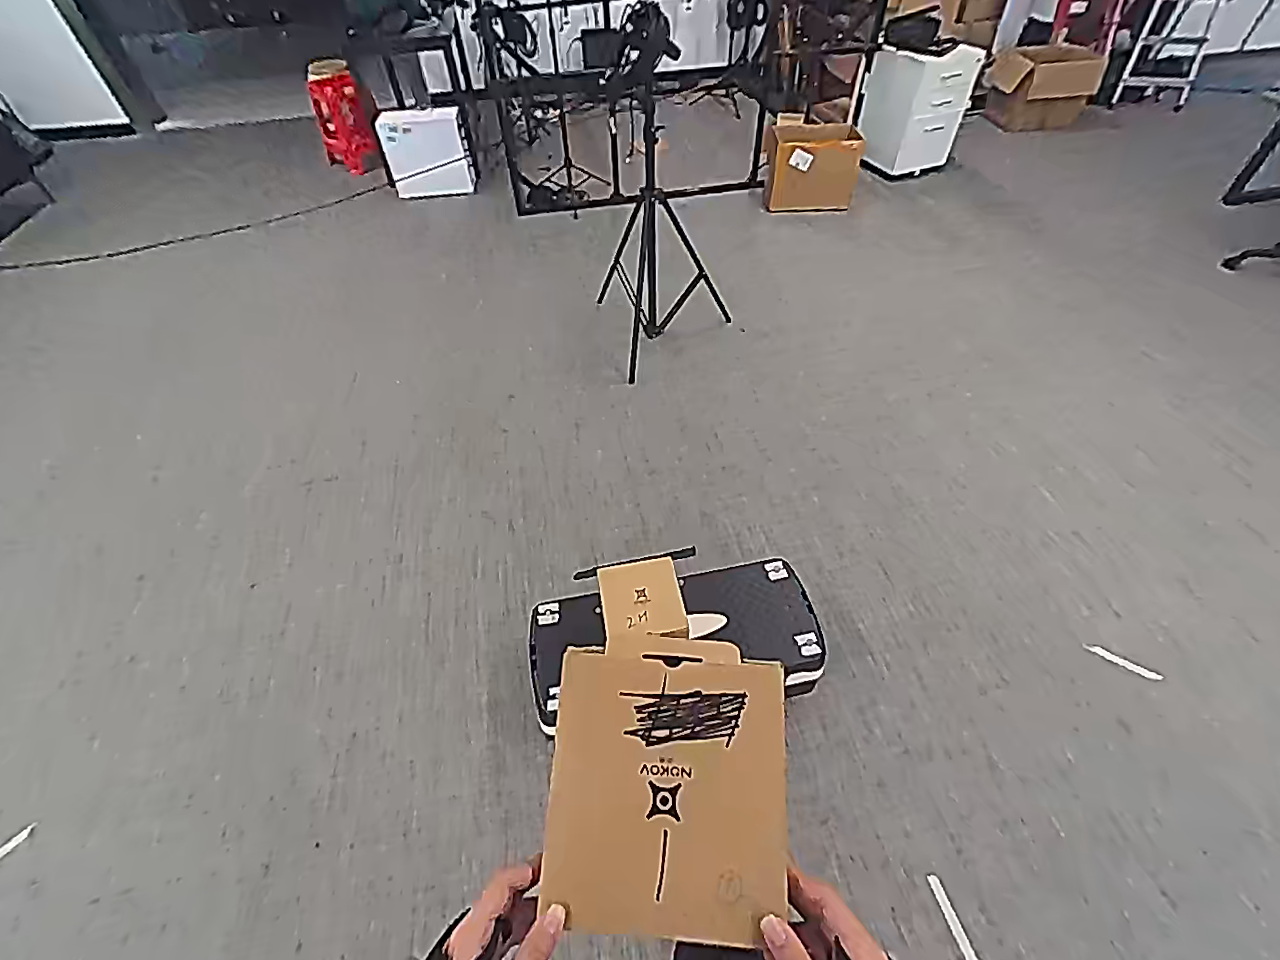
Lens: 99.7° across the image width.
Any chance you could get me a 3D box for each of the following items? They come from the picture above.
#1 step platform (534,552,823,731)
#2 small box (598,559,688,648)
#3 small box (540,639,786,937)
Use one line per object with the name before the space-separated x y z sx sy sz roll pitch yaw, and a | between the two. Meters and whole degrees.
step platform | 0.087 0.387 1.327 0.684 0.204 0.286 -10 49 -6
small box | 0.003 0.299 1.176 0.168 0.176 0.179 -9 49 -5
small box | 0.023 0.237 0.458 0.168 0.176 0.179 3 70 4
